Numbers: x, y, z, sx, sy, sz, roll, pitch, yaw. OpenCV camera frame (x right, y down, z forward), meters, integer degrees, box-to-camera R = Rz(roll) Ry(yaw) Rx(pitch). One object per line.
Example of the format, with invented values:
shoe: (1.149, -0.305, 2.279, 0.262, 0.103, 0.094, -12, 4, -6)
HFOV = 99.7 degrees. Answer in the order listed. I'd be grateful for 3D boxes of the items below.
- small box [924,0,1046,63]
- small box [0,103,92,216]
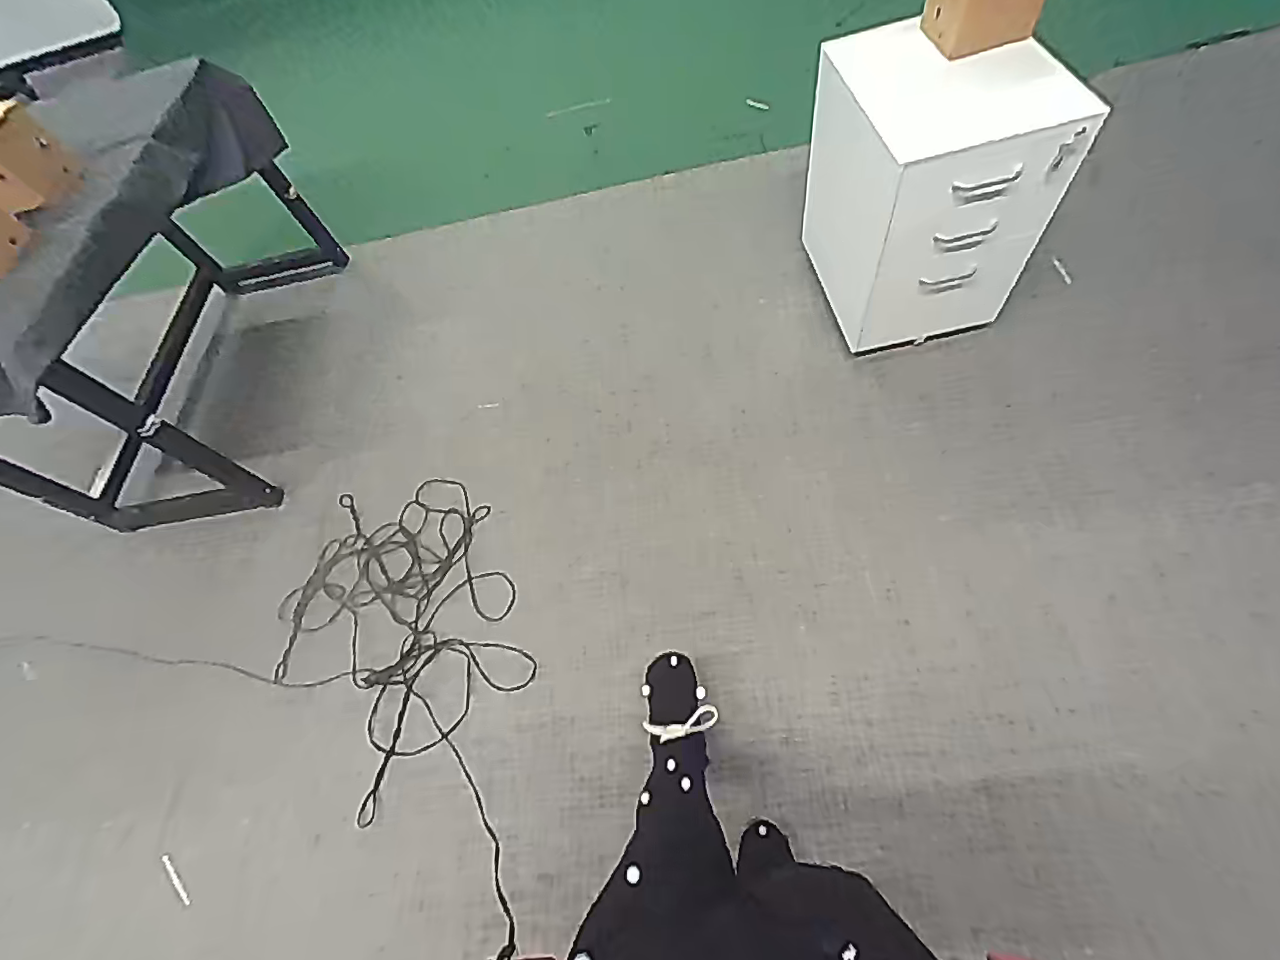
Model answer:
small box: (0.739, -1.035, 1.144, 0.179, 0.176, 0.168, -13, 61, 6)
small box: (-1.540, -0.786, 1.339, 0.179, 0.176, 0.168, -5, 60, 11)
